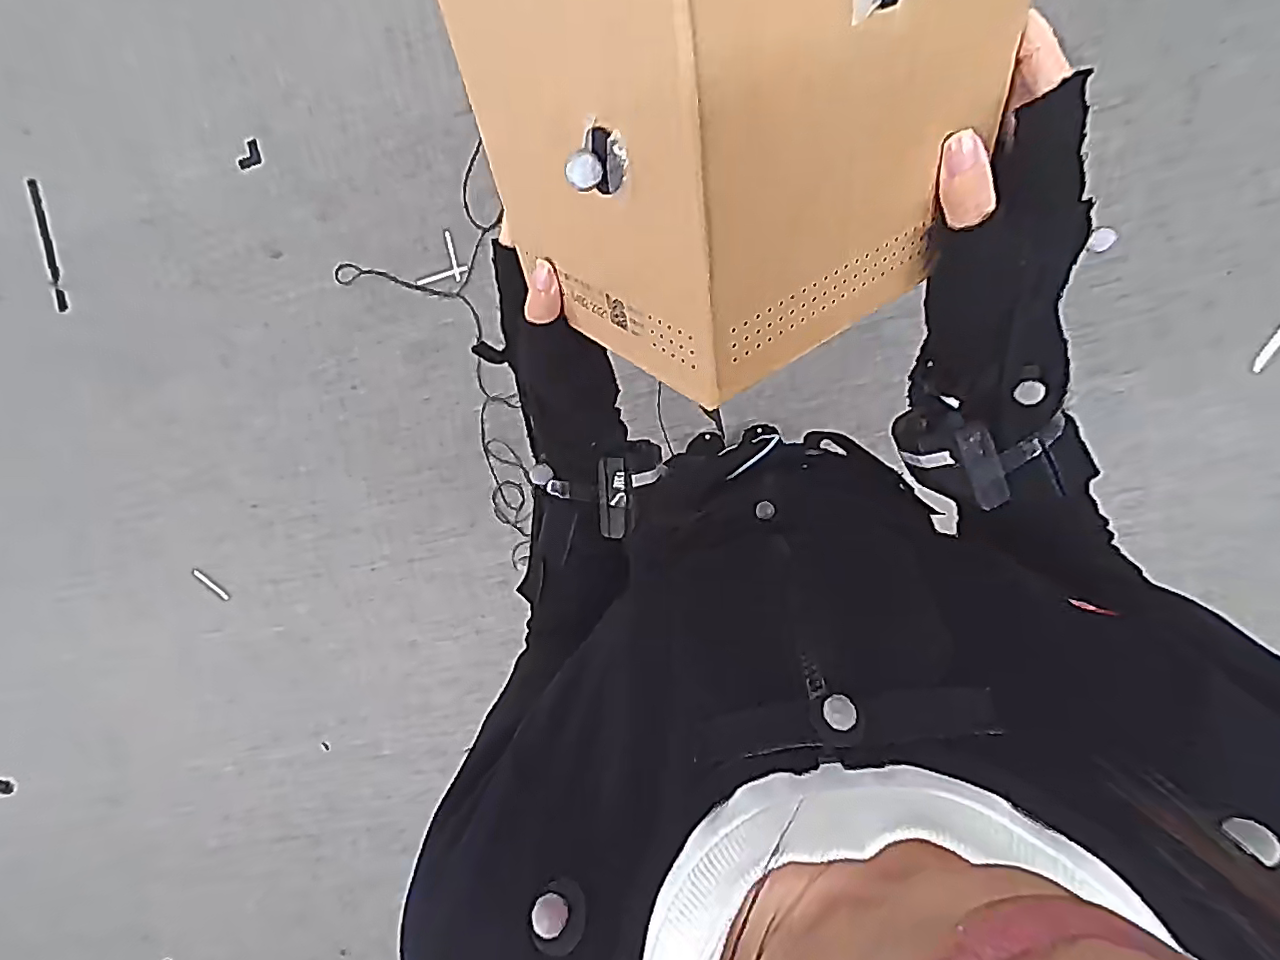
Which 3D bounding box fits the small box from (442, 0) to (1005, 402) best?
[{"bbox_3d":[0.040,-0.163,0.252,0.179,0.176,0.168,-31,47,-19],"label":"small box"}]
